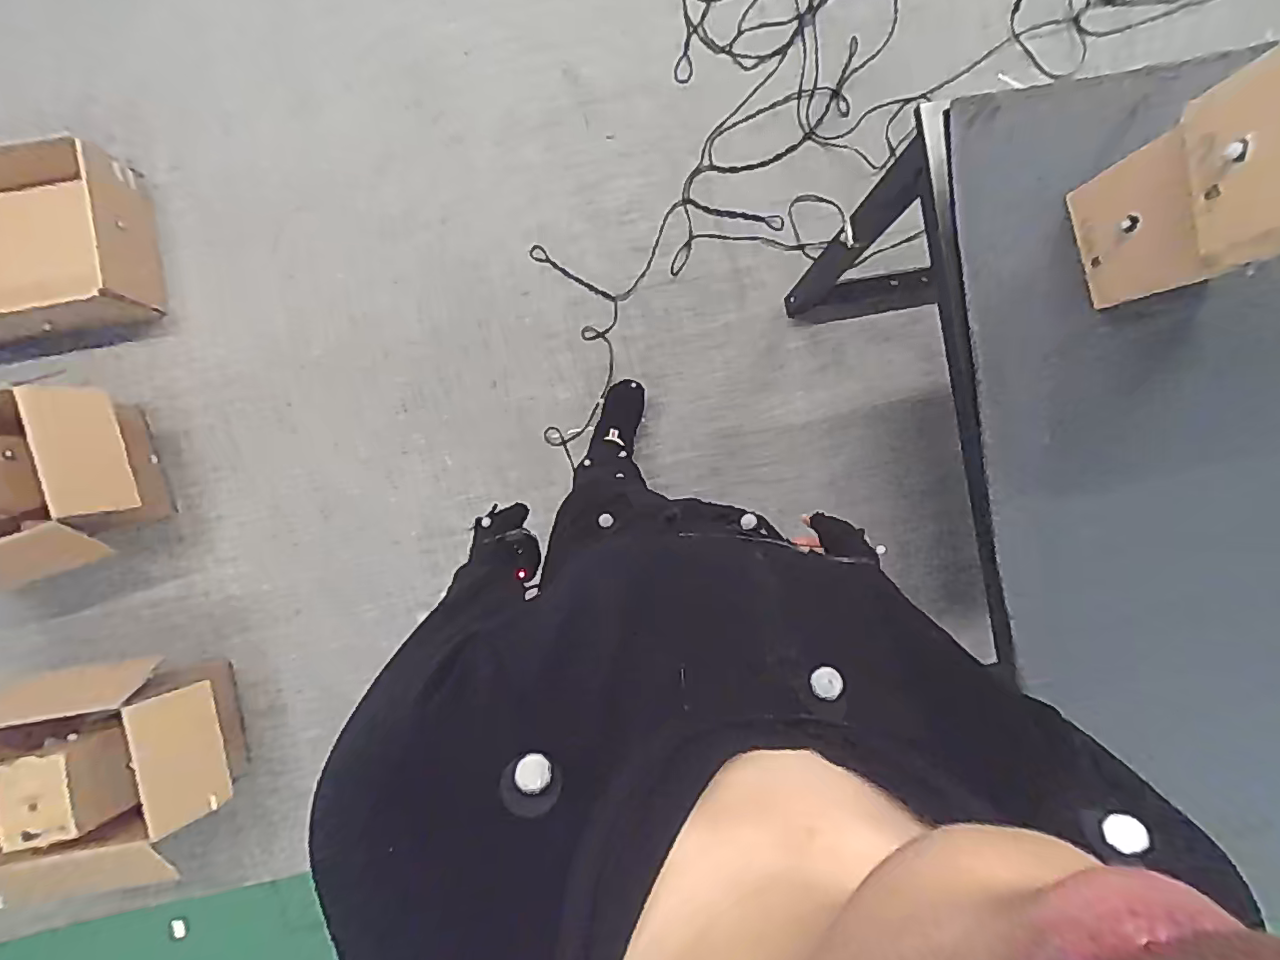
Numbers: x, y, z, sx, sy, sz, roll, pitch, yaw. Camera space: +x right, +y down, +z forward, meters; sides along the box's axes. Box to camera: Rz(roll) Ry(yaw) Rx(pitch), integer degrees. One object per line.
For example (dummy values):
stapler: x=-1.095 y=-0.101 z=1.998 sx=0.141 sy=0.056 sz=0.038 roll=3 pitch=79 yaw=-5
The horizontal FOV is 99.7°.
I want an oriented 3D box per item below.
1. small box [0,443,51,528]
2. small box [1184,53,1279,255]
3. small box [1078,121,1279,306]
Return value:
small box: x=-1.458 y=0.016 z=1.180 sx=0.179 sy=0.176 sz=0.168 roll=-18 pitch=88 yaw=-3
small box: x=0.682 y=-0.331 z=0.506 sx=0.179 sy=0.176 sz=0.168 roll=-8 pitch=90 yaw=0
small box: x=0.694 y=-0.335 z=0.670 sx=0.179 sy=0.176 sz=0.168 roll=-15 pitch=91 yaw=-1
